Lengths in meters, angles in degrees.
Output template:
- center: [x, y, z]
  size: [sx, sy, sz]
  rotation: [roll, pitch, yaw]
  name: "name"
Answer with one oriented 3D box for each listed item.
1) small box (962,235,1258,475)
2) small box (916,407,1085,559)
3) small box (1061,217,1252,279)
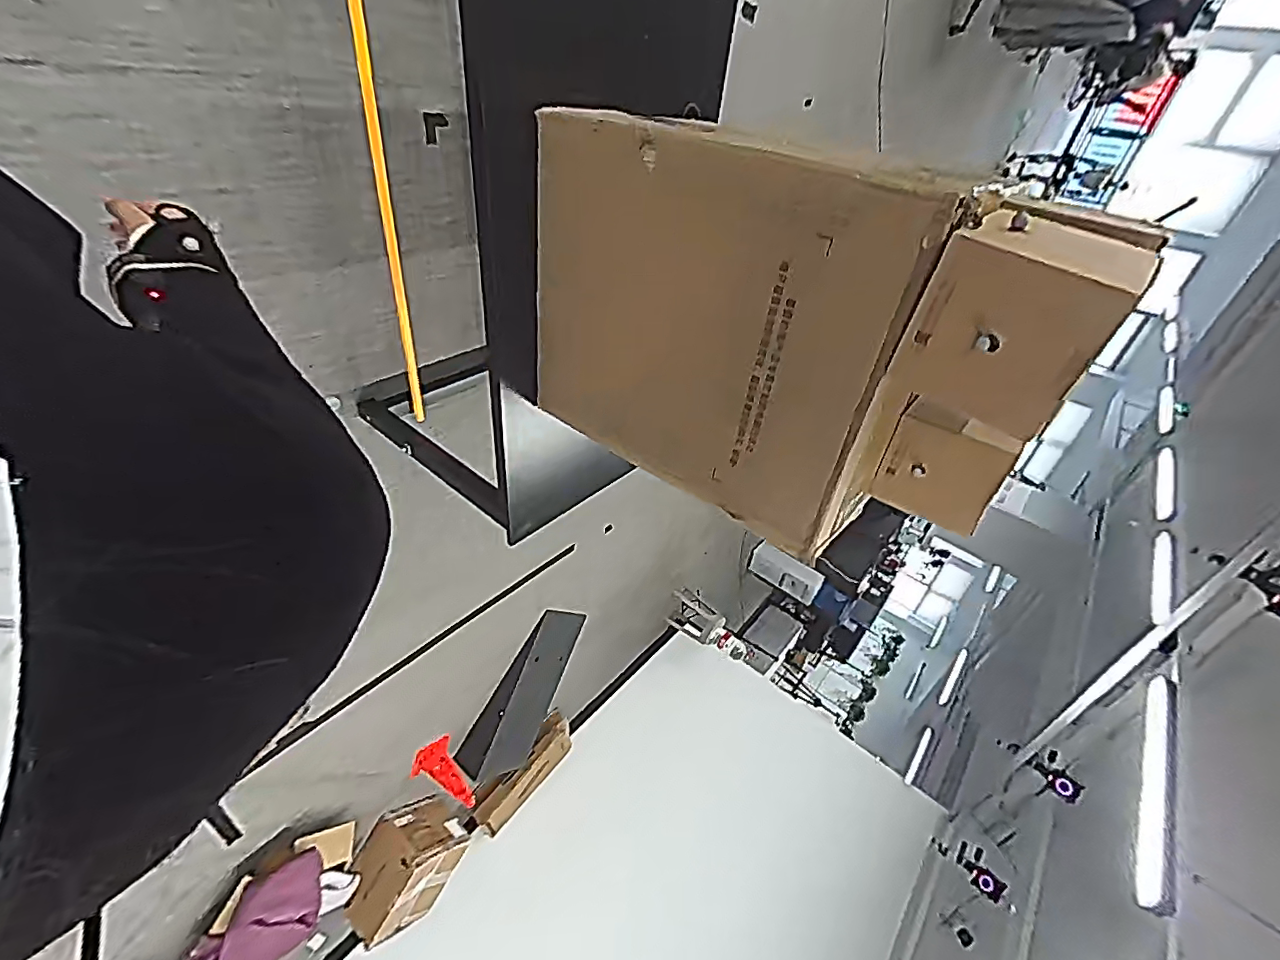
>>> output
- center: [0.482, -0.141, 0.575]
  size: [0.179, 0.176, 0.168]
  rotation: [-33, 147, -36]
  name: "small box"
- center: [0.586, -0.010, 0.886]
  size: [0.179, 0.176, 0.168]
  rotation: [-36, 144, -41]
  name: "small box"
- center: [0.612, -0.231, 0.704]
  size: [0.168, 0.176, 0.179]
  rotation: [-33, 145, -42]
  name: "small box"
